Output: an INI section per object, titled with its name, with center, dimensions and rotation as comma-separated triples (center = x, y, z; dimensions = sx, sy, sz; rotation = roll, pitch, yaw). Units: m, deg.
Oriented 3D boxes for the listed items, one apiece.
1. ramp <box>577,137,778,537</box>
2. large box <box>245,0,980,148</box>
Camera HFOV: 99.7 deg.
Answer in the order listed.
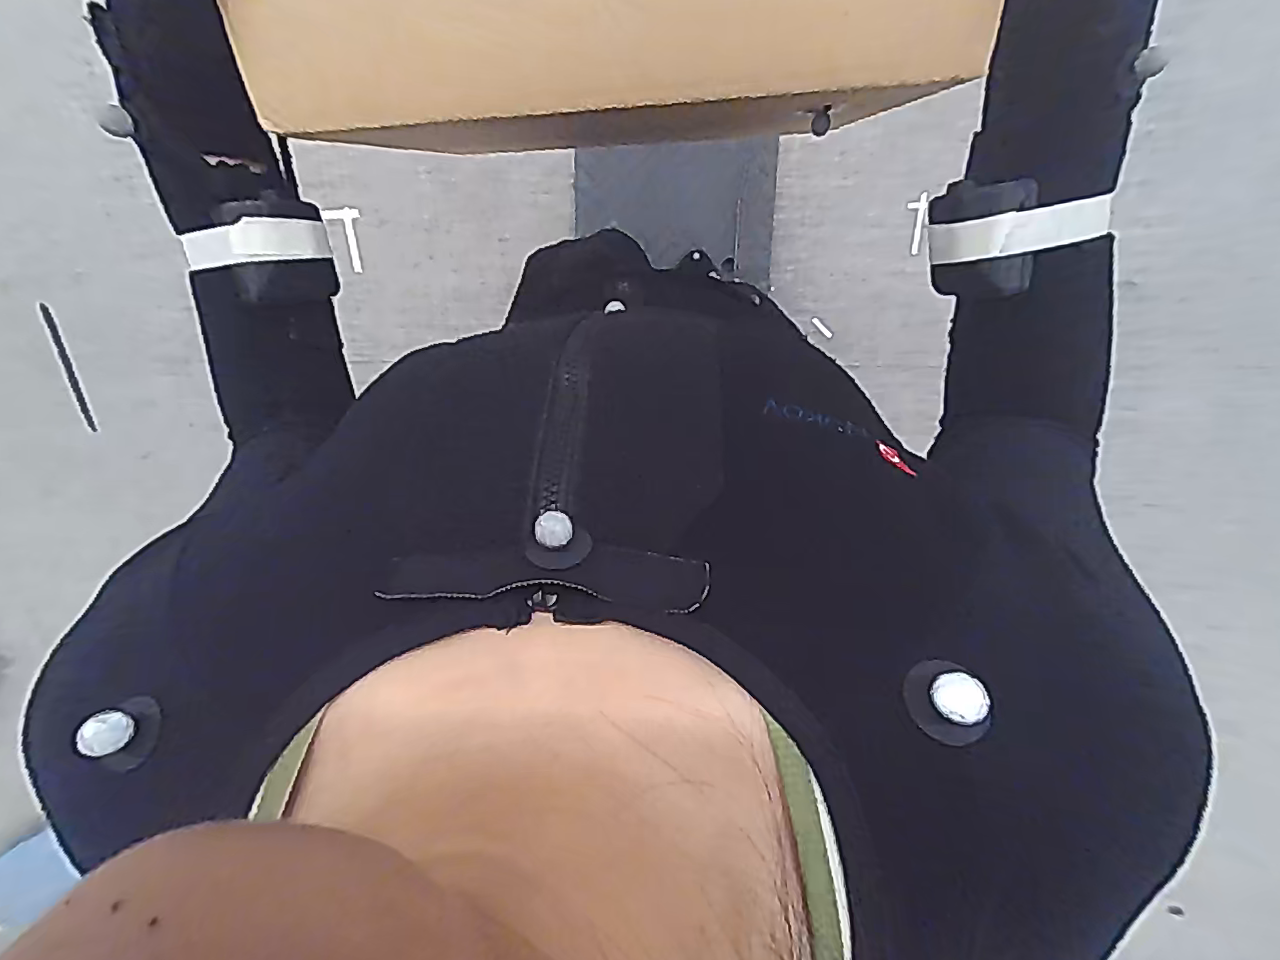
[ramp]
center = 0.078, -0.338, 1.410
dimensions = 0.509, 0.206, 0.991
rotation = 1, 111, 6
[large box]
center = -0.016, -0.424, 0.368
dimensions = 0.408, 0.320, 0.320
rotation = -1, 119, 5
